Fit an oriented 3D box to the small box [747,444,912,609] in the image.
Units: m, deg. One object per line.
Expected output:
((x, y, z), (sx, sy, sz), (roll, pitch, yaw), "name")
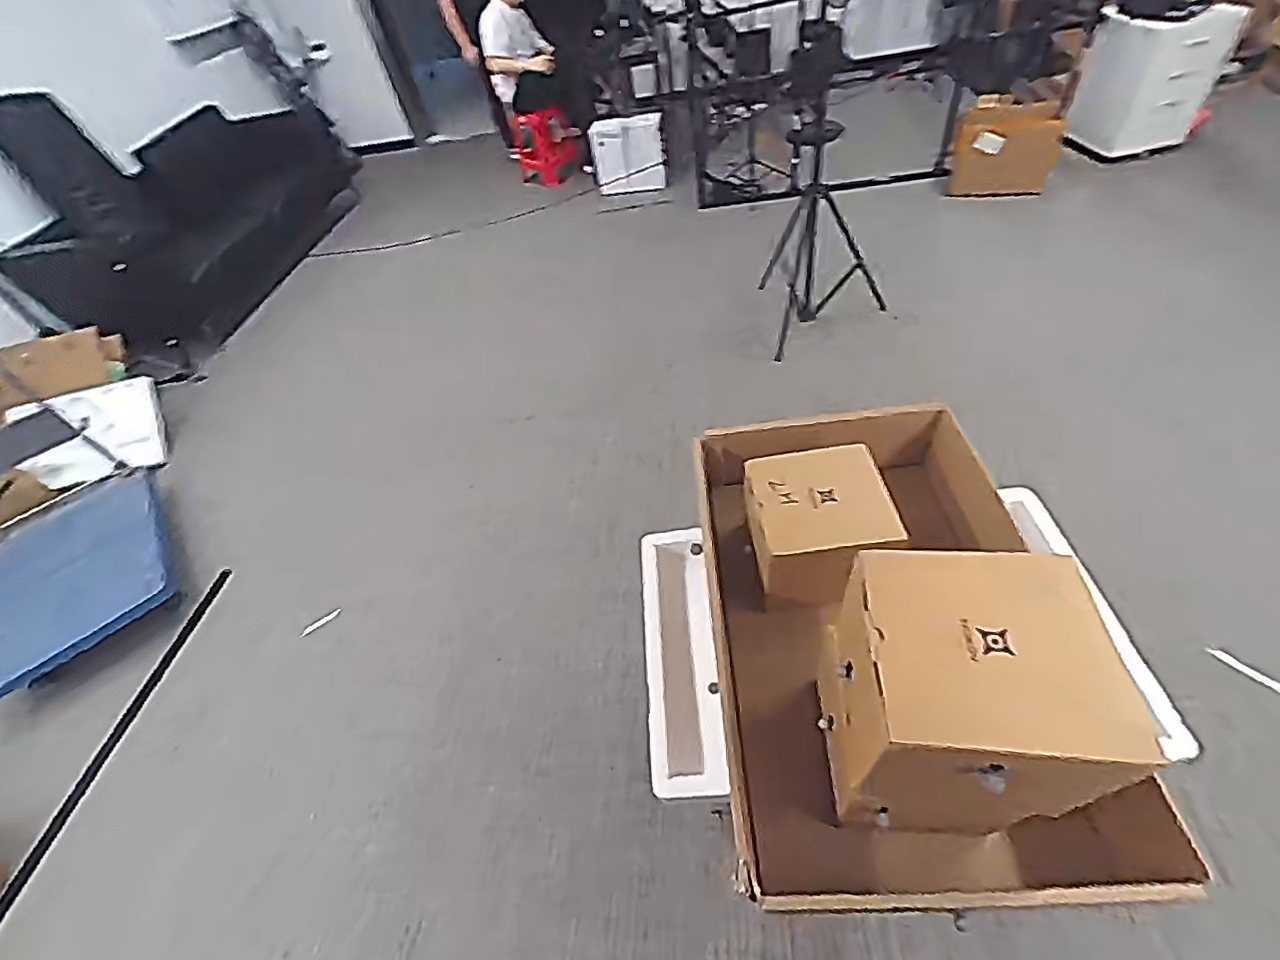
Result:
((0.258, 0.071, 0.785), (0.179, 0.176, 0.168), (-8, 50, 4), "small box")
